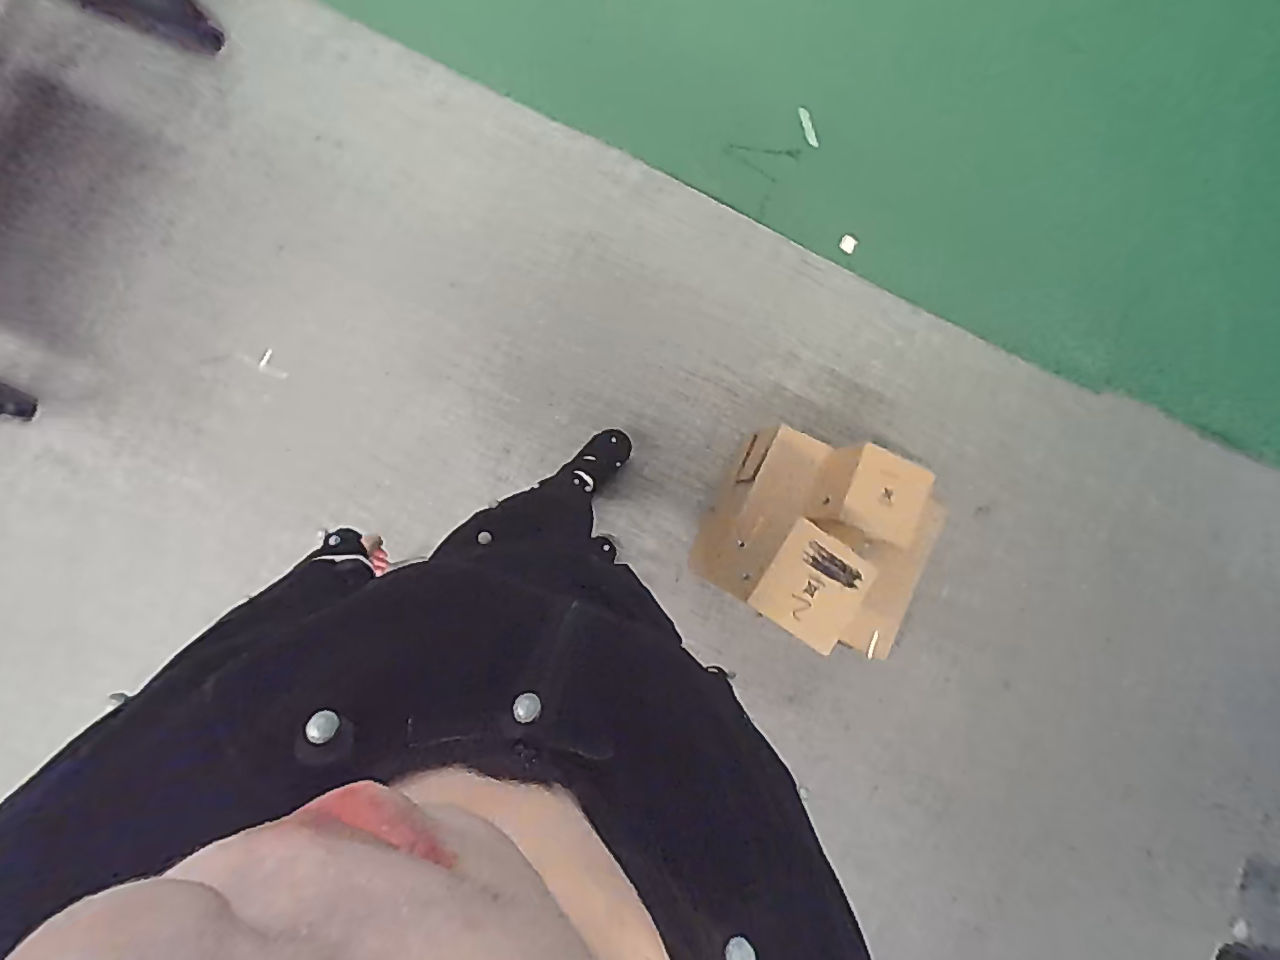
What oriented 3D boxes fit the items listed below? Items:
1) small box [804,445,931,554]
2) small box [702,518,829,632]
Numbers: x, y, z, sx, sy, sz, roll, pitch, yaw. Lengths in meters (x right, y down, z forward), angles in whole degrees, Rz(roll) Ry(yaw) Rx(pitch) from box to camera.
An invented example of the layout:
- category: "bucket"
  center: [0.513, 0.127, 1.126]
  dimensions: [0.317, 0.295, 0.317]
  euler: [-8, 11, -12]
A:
- category: "small box"
  center: [0.483, 0.043, 1.176]
  dimensions: [0.168, 0.176, 0.179]
  euler: [25, 84, -6]
- category: "small box"
  center: [0.256, 0.189, 1.143]
  dimensions: [0.179, 0.176, 0.168]
  euler: [30, 86, -4]
